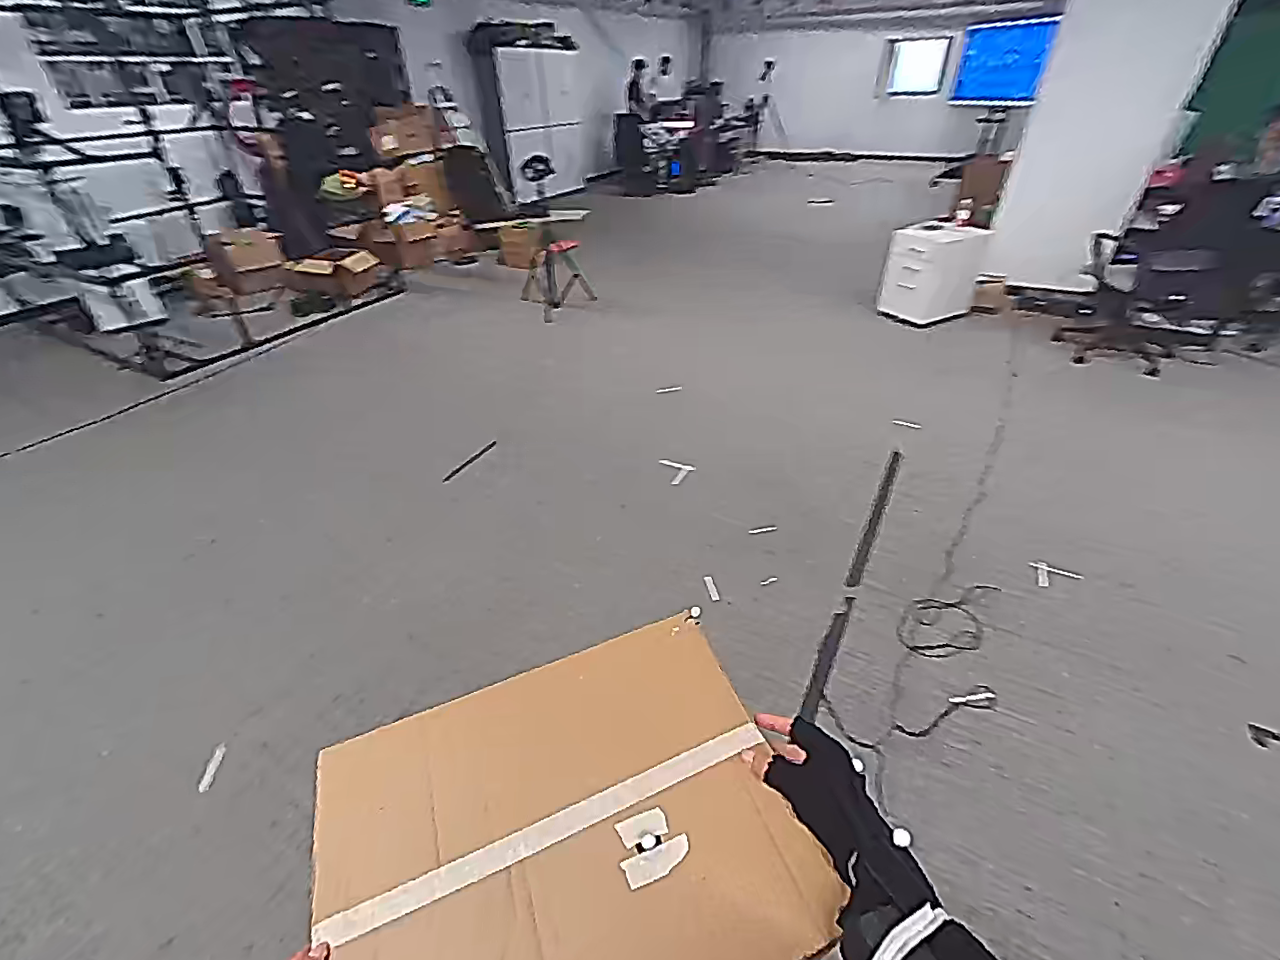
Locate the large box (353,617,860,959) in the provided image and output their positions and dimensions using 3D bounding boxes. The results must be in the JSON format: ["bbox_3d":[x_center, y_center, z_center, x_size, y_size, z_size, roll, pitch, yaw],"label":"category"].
[{"bbox_3d":[-0.049,0.423,0.595,0.408,0.320,0.320,-16,44,-14],"label":"large box"}]
